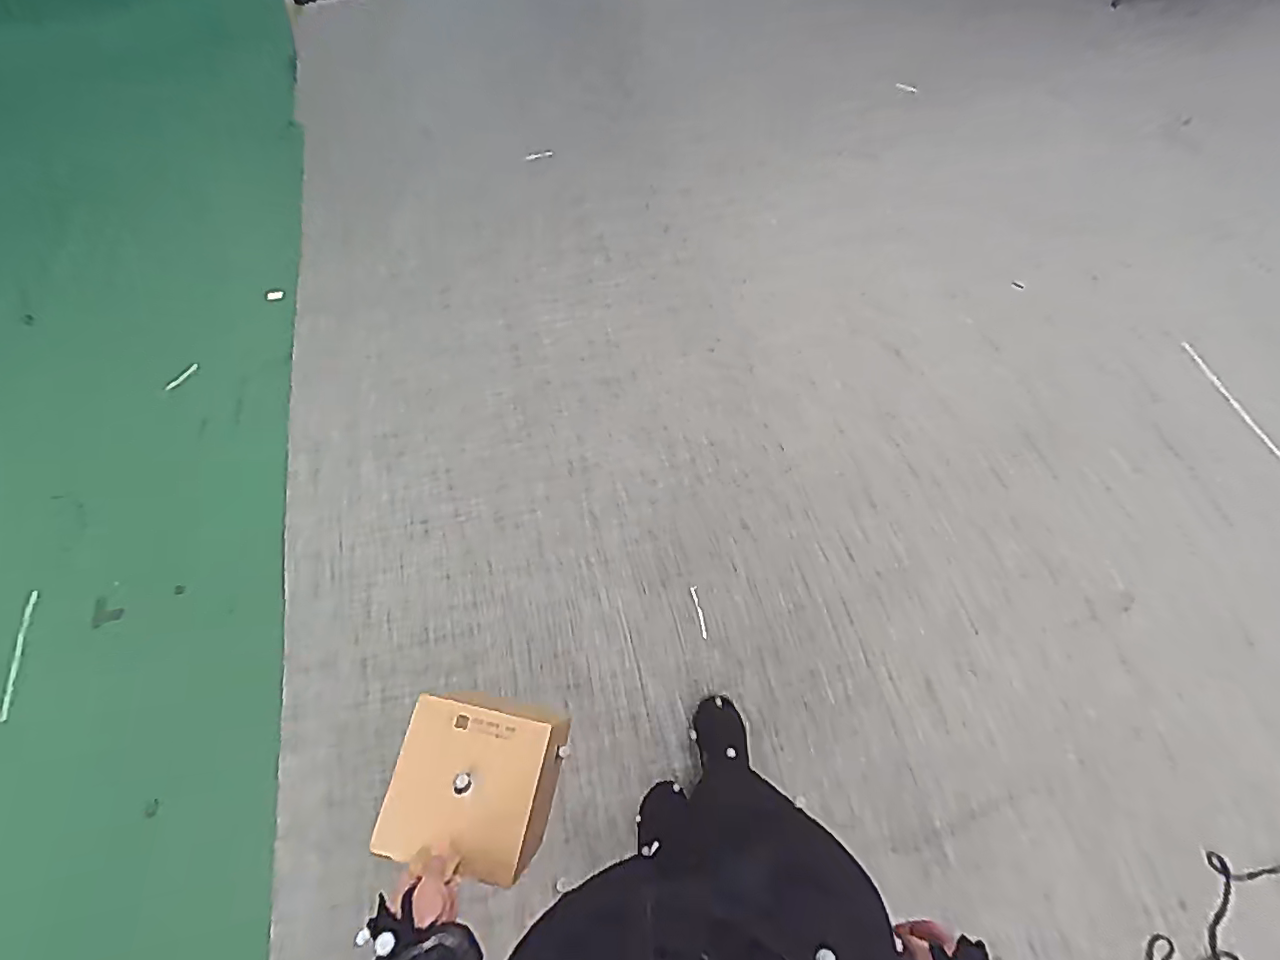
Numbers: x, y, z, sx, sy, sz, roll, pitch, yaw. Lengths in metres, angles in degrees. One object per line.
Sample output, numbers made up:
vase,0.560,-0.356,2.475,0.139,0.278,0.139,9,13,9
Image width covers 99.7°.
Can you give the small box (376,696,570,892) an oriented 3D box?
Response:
small box,-0.194,0.376,0.683,0.168,0.179,0.176,10,71,5
